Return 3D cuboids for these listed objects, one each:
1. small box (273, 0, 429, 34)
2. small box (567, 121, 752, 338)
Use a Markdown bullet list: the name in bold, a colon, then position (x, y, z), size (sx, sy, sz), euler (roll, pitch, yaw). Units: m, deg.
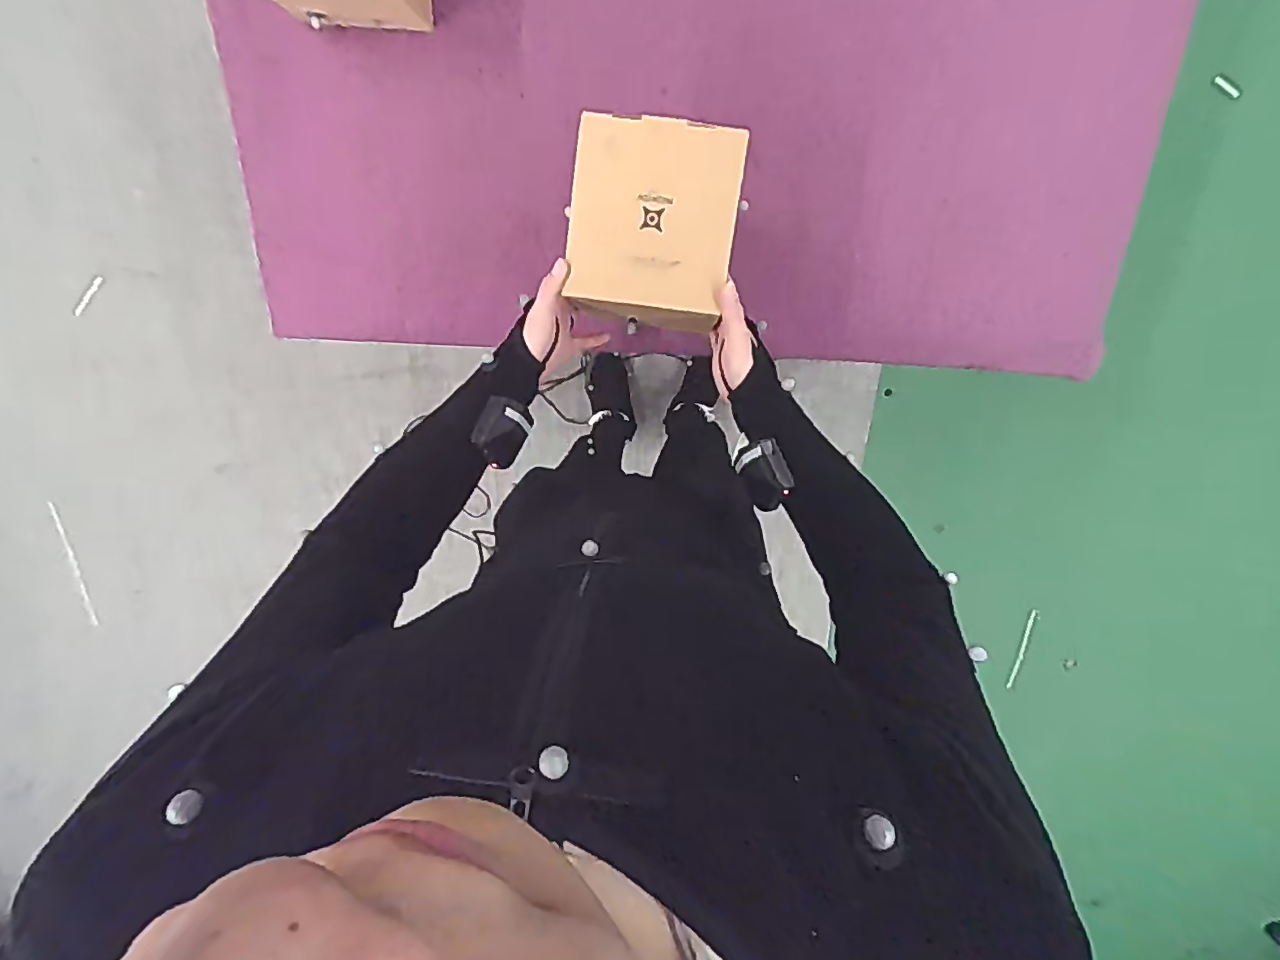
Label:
- **small box**: position (-0.333, -0.604, 0.563), size (0.168, 0.176, 0.179), euler (3, 111, -2)
- **small box**: position (0.020, -0.267, 0.618), size (0.168, 0.176, 0.179), euler (8, 101, 1)
